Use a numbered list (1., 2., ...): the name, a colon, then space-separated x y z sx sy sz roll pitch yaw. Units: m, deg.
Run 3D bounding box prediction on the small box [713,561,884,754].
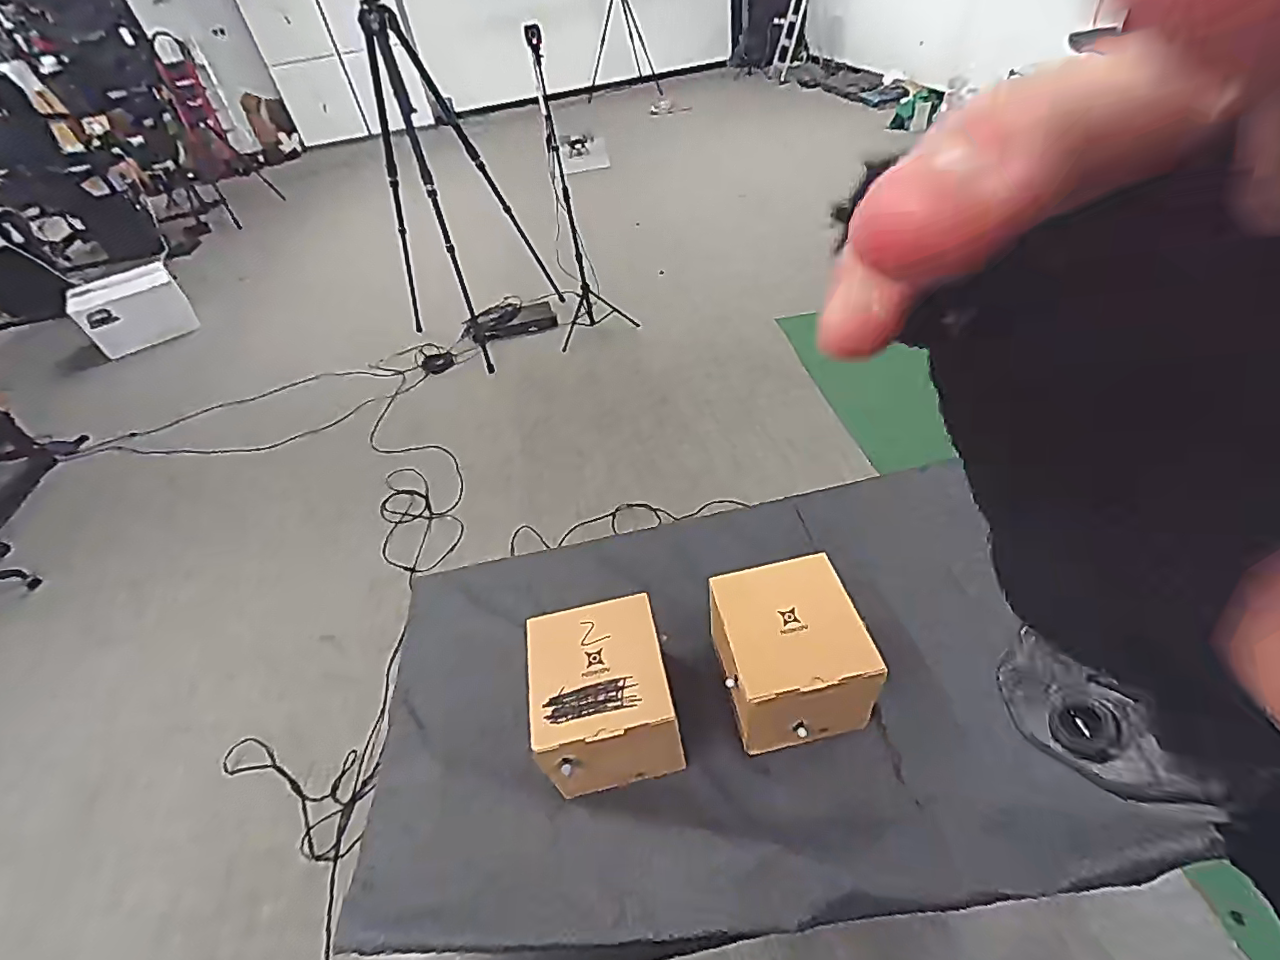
1. small box: 0.200 0.243 0.739 0.168 0.176 0.179 -12 45 -2
